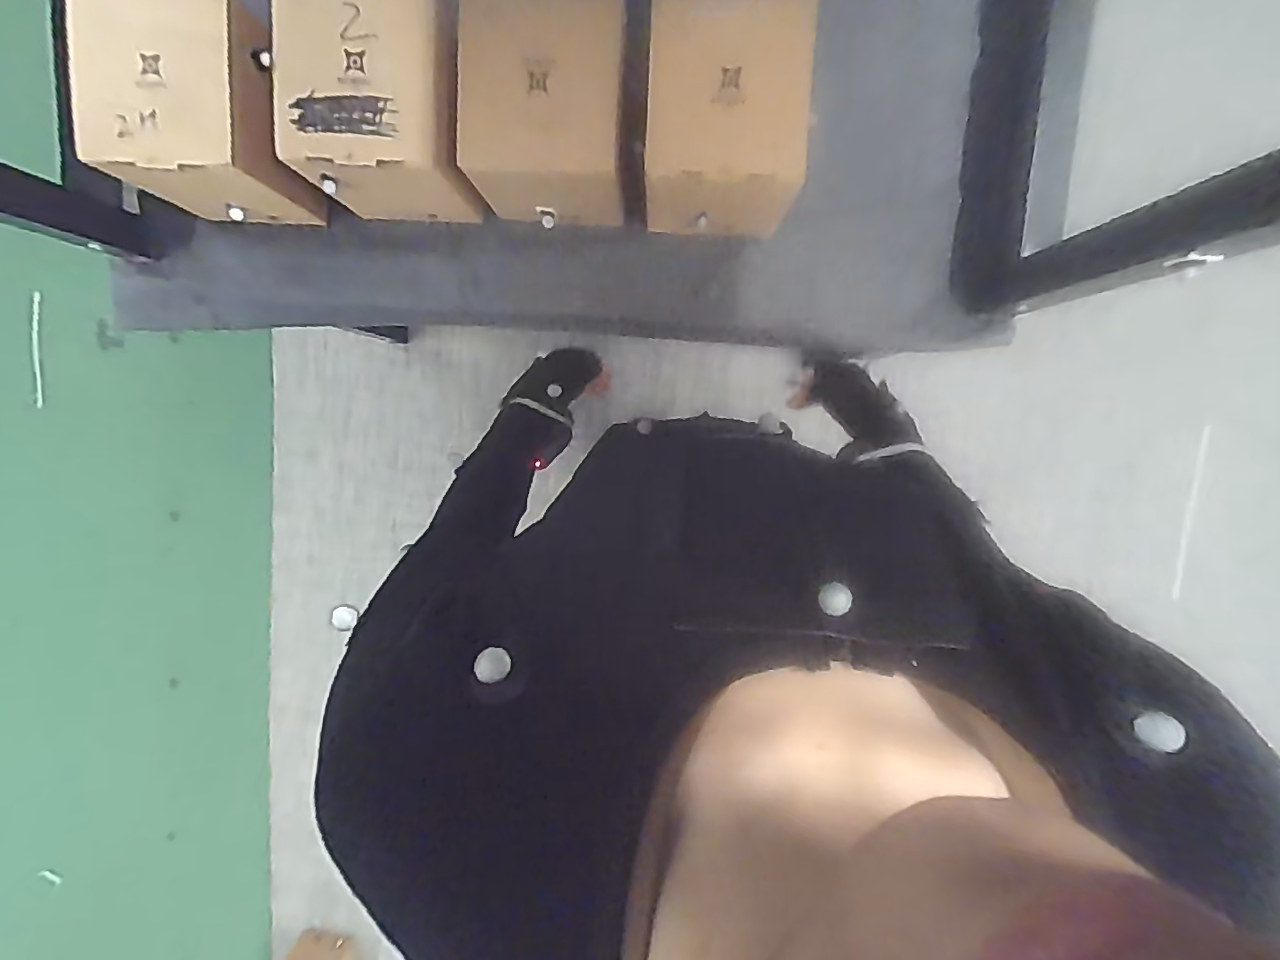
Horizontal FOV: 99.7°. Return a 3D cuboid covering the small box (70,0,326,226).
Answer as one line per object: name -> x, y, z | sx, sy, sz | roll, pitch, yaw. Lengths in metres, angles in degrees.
small box -> -0.491, -0.419, 0.627 | 0.168, 0.176, 0.179 | 3, 96, 1

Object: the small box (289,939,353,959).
small box -> -0.973, 1.510, 1.594 | 0.168, 0.176, 0.179 | 7, 97, 1
